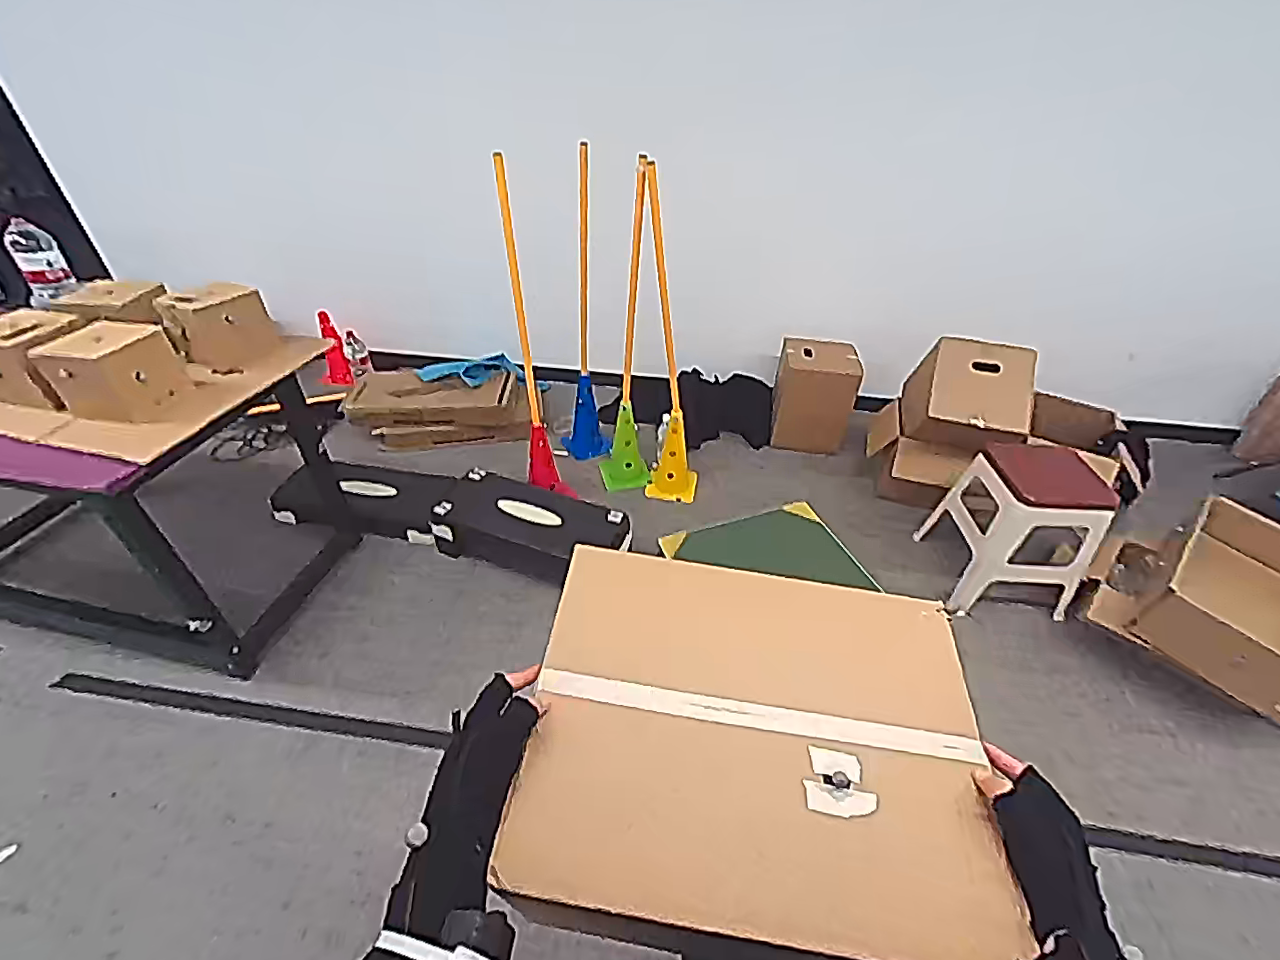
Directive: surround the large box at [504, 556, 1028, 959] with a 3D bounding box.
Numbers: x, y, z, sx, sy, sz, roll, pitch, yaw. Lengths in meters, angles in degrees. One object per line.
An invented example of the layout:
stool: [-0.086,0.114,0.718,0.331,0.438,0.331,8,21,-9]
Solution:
large box: [0.098,0.322,0.610,0.408,0.320,0.320,9,48,3]
